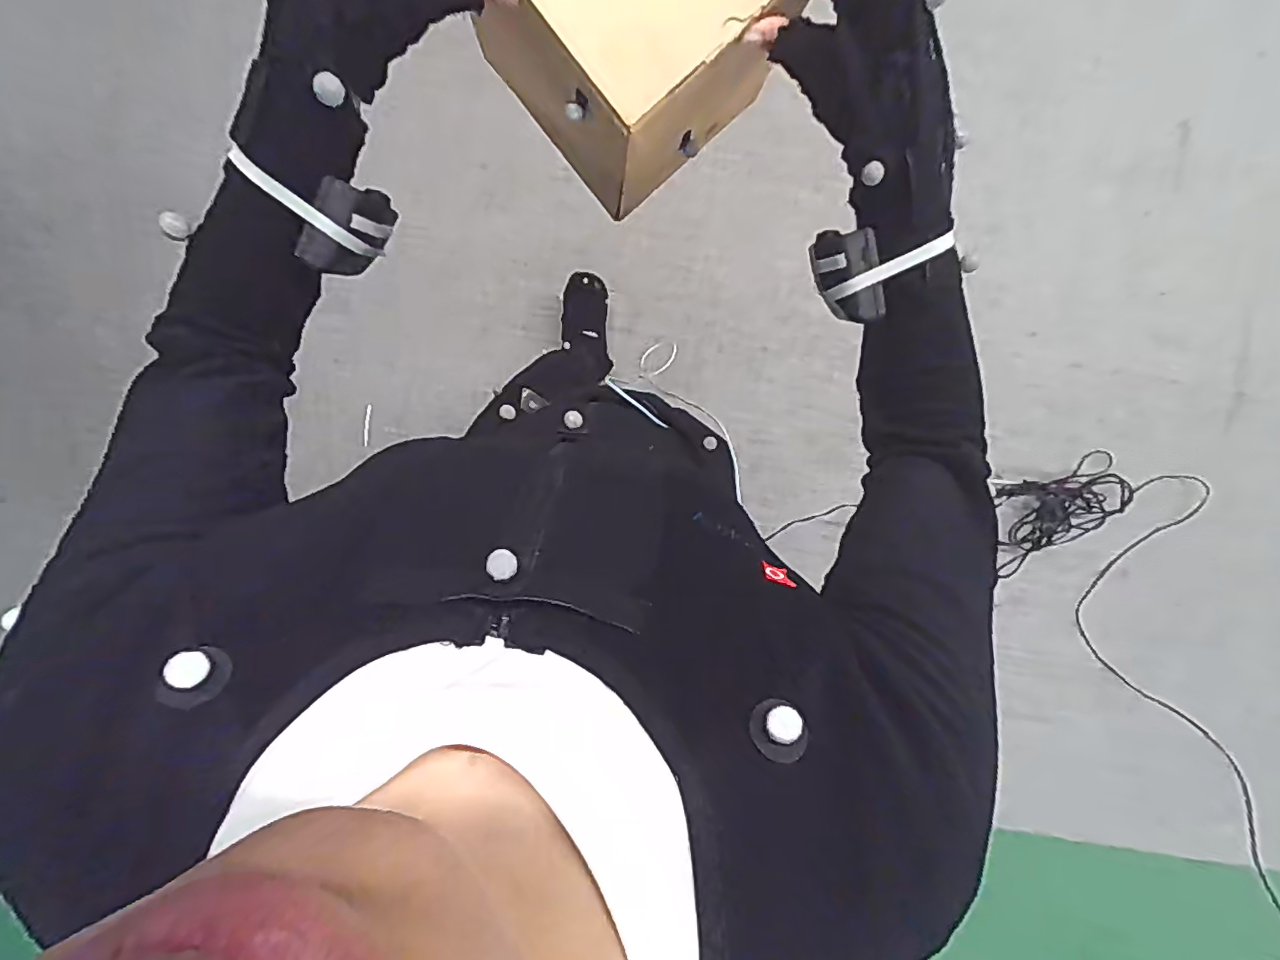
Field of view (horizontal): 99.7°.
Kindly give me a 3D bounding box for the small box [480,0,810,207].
[{"bbox_3d":[-0.006,-0.339,0.387,0.168,0.176,0.179,-41,101,2],"label":"small box"}]
